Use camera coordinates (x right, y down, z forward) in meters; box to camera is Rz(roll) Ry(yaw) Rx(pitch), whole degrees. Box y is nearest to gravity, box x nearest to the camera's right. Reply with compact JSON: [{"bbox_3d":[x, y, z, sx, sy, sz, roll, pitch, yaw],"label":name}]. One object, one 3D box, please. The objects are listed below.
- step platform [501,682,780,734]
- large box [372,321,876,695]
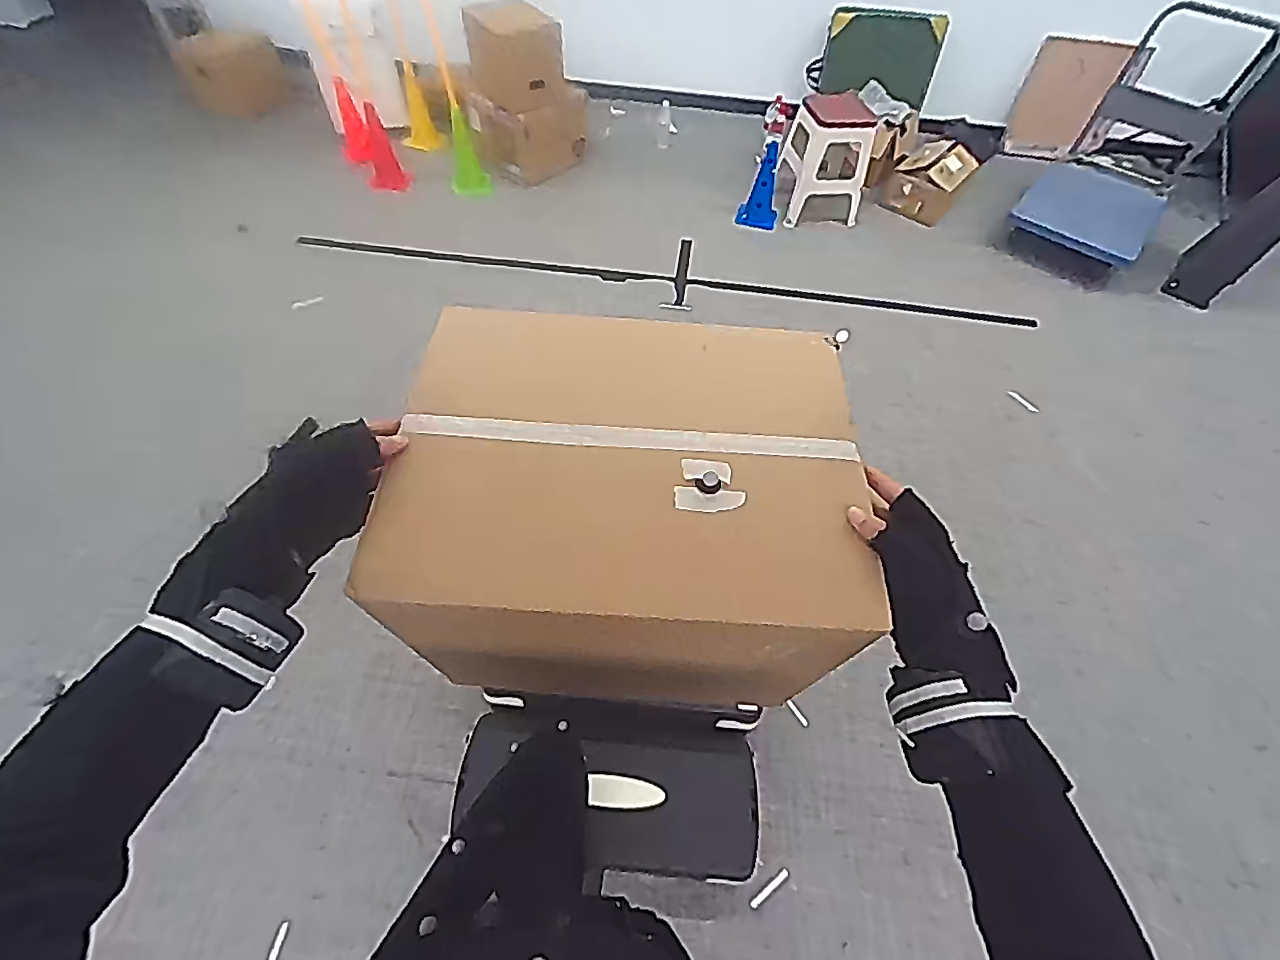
[{"bbox_3d":[0.003,0.447,1.369,0.684,0.204,0.286,6,54,0],"label":"step platform"},{"bbox_3d":[-0.014,0.049,0.623,0.408,0.320,0.320,4,58,-1],"label":"large box"}]
